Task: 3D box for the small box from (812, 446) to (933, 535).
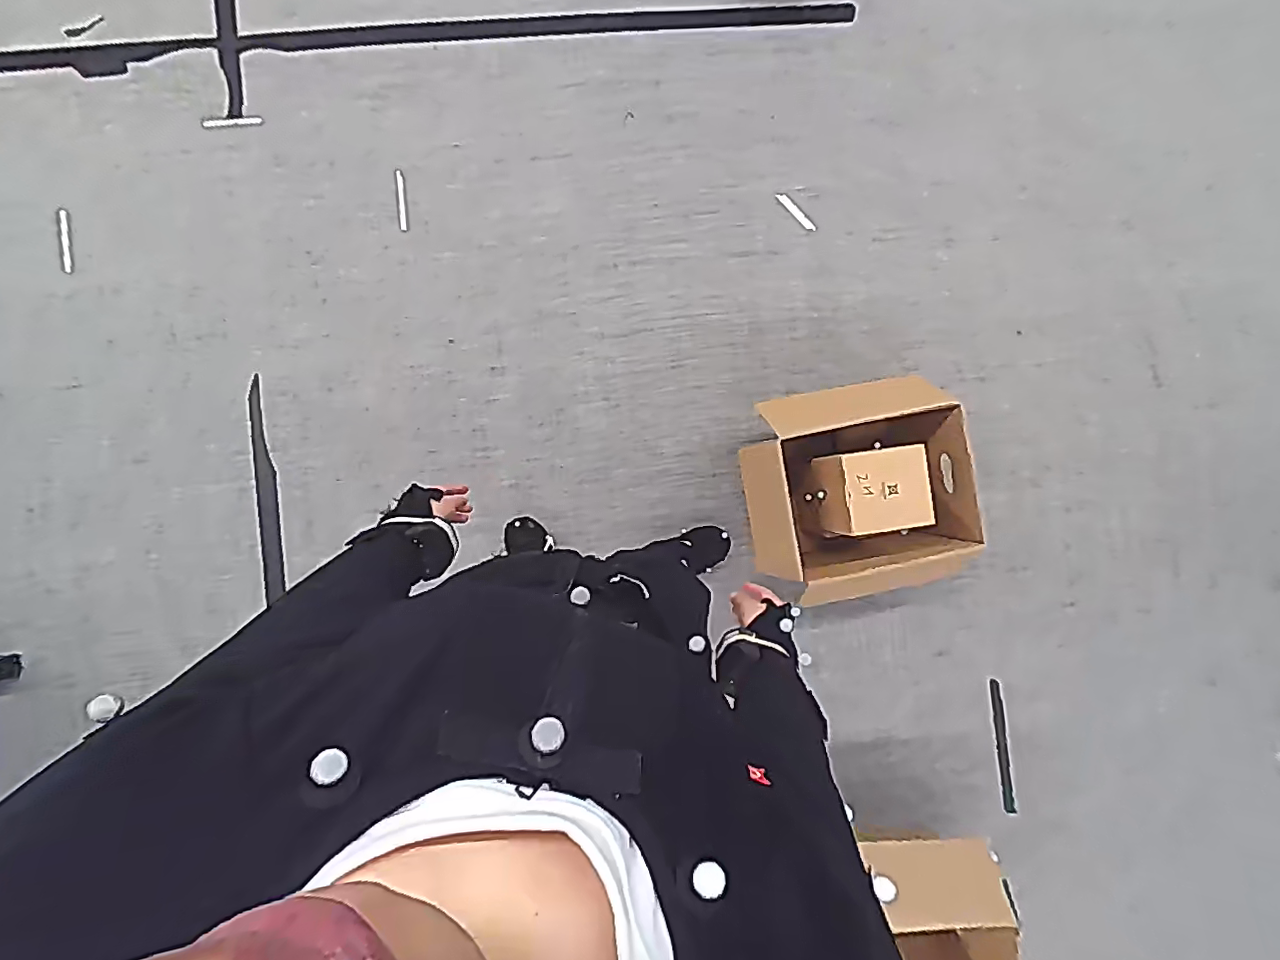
[{"bbox_3d":[0.493,0.021,1.165,0.179,0.176,0.168,-8,89,-3],"label":"small box"}]
